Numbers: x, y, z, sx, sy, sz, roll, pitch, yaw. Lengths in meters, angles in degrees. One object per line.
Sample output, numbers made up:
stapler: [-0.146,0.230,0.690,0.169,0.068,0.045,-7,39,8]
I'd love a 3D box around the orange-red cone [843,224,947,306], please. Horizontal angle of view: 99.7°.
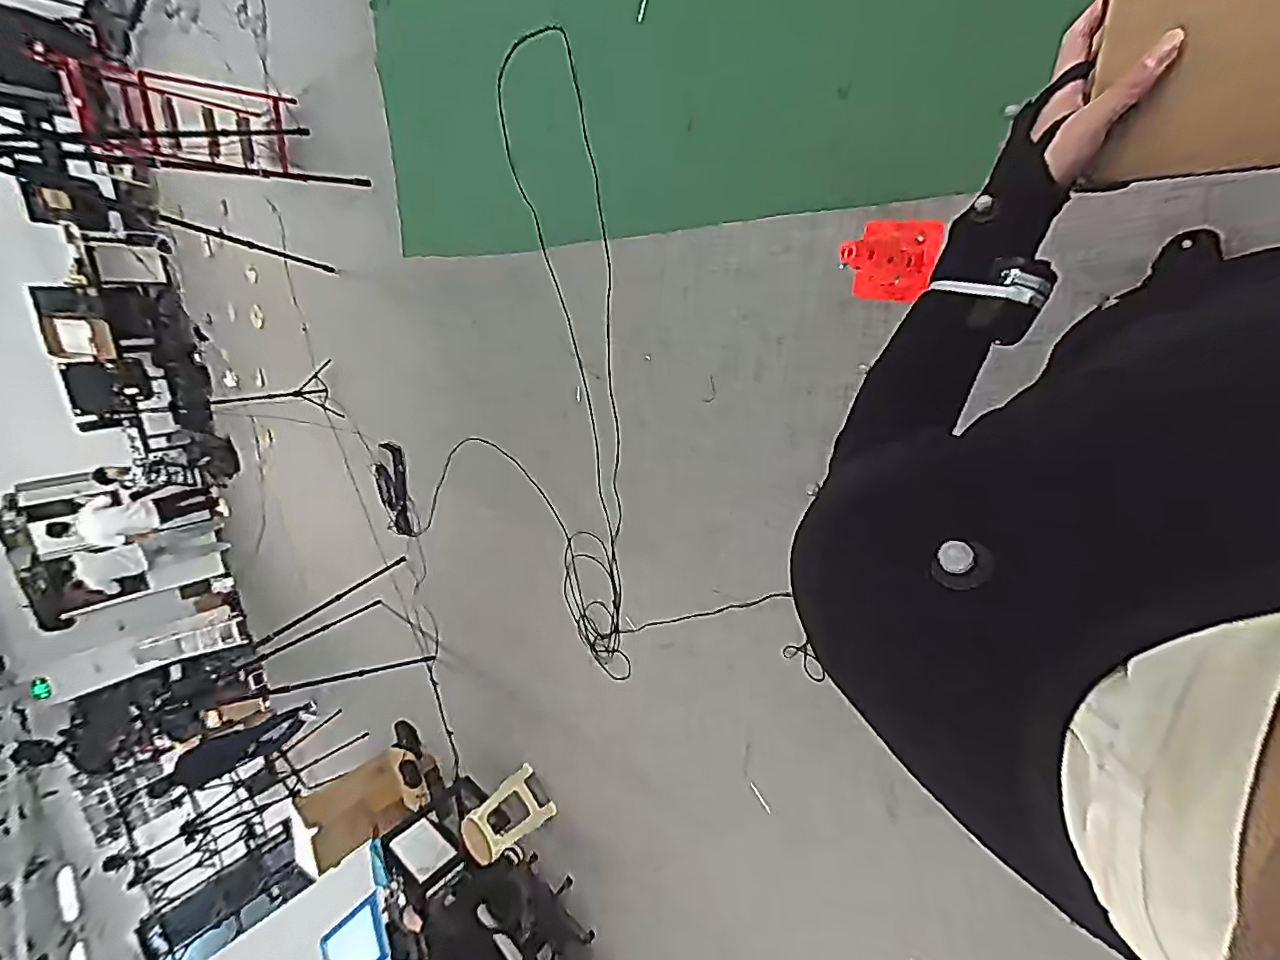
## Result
orange-red cone: [0.585,-0.542,1.332,0.199,0.360,0.198,23,117,37]
